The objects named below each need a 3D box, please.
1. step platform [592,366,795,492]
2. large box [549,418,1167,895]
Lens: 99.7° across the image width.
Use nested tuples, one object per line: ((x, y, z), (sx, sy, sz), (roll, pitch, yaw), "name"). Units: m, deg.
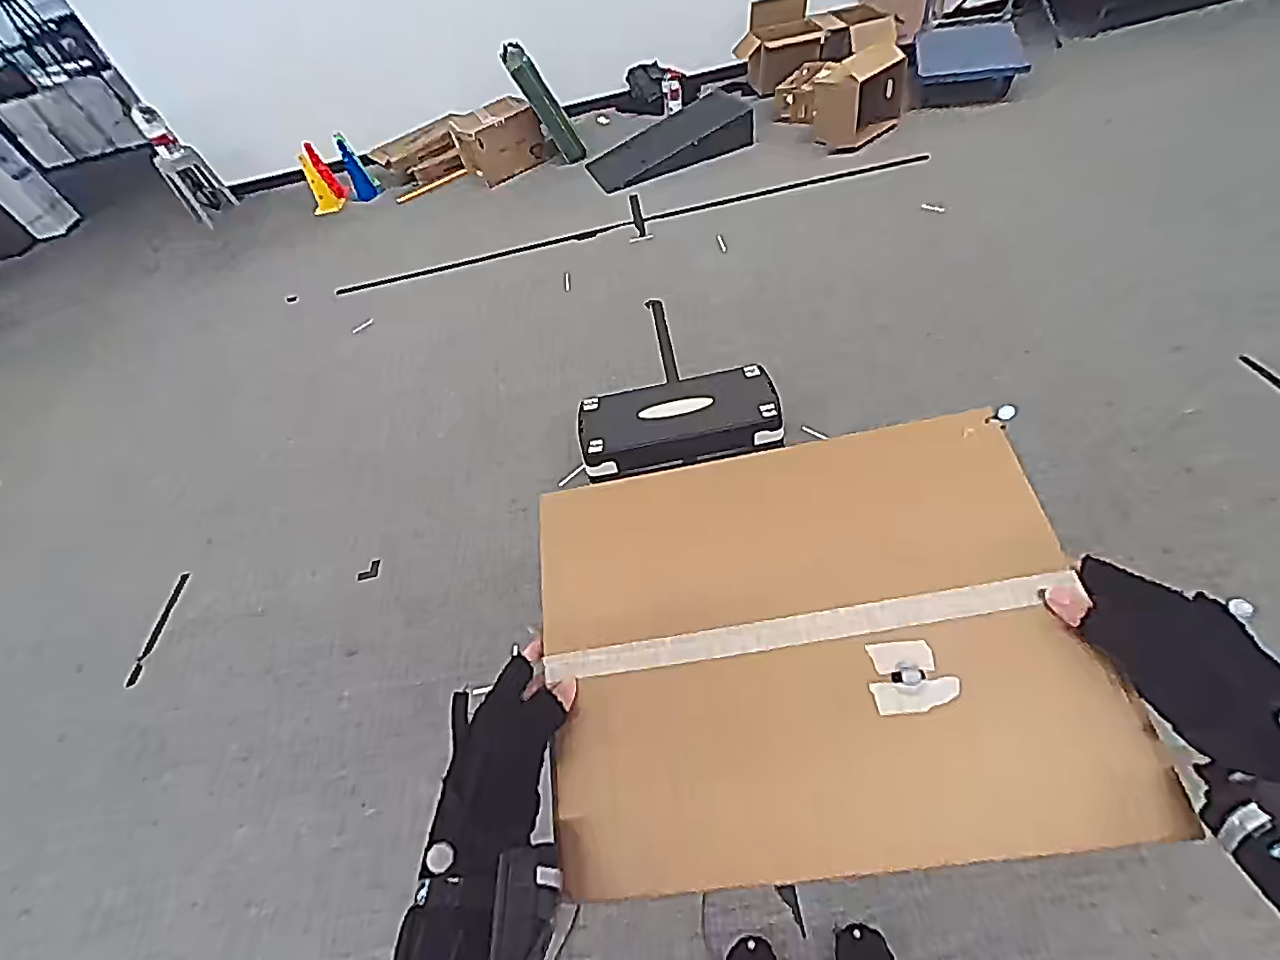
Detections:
((0.176, -0.179, 1.864), (0.684, 0.204, 0.286), (-12, 51, 2), "step platform")
((0.151, 0.183, 0.562), (0.408, 0.320, 0.320), (-11, 64, 6), "large box")
